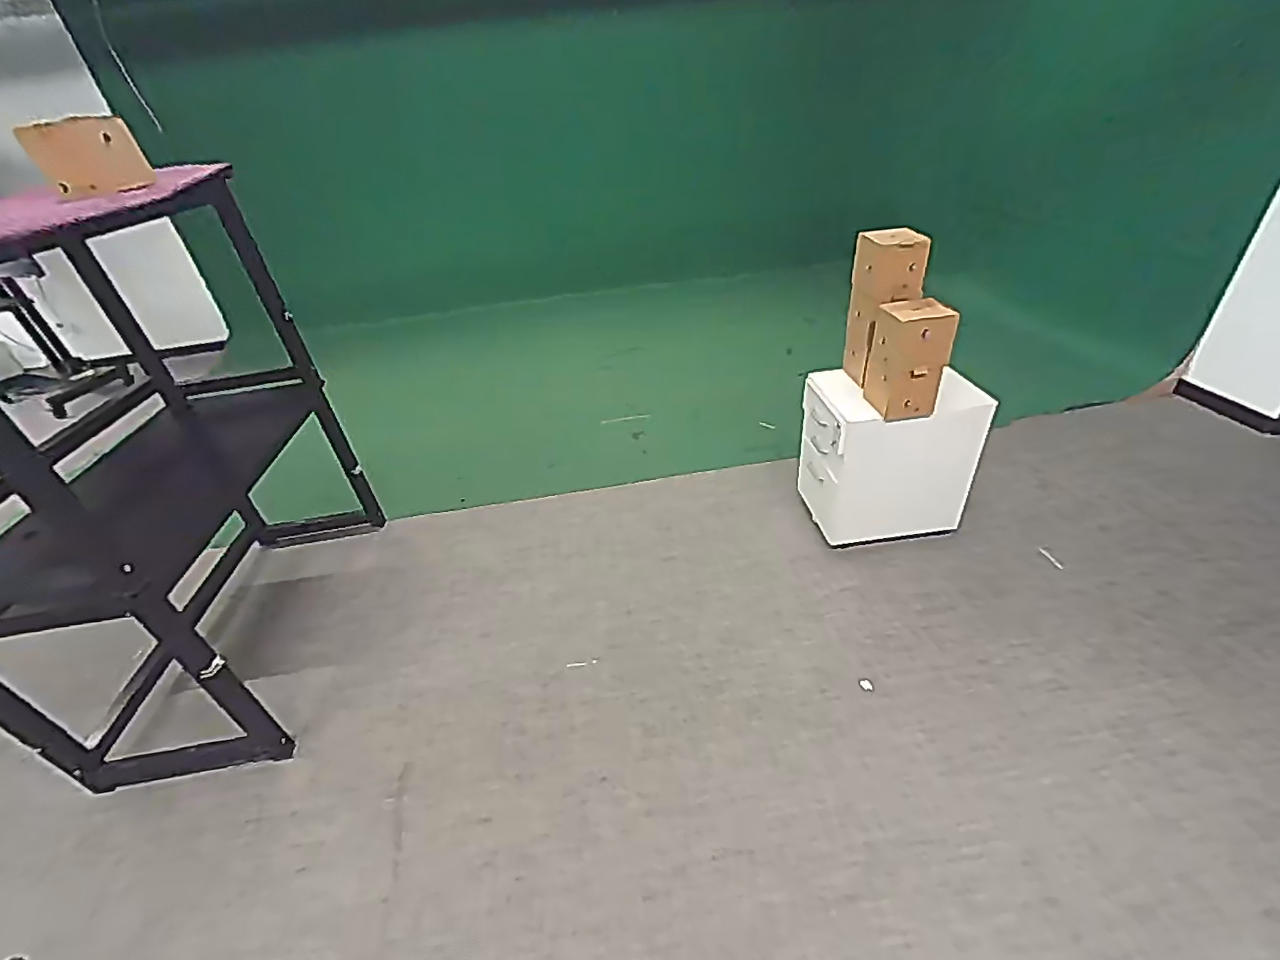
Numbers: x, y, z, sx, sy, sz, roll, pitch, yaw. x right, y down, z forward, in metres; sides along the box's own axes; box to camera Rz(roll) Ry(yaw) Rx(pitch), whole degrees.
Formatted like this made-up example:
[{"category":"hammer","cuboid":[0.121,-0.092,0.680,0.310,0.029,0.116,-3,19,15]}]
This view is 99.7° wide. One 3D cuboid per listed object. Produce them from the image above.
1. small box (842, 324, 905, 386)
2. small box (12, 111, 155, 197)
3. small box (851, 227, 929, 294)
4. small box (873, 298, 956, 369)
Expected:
[{"category":"small box","cuboid":[0.863,-0.462,1.988,0.168,0.176,0.179,-8,37,-2]},{"category":"small box","cuboid":[-1.469,-0.869,1.446,0.168,0.176,0.179,-10,36,0]},{"category":"small box","cuboid":[0.823,-0.725,1.797,0.168,0.176,0.179,-6,36,-2]},{"category":"small box","cuboid":[0.853,-0.458,1.703,0.179,0.176,0.168,-6,36,-1]}]
